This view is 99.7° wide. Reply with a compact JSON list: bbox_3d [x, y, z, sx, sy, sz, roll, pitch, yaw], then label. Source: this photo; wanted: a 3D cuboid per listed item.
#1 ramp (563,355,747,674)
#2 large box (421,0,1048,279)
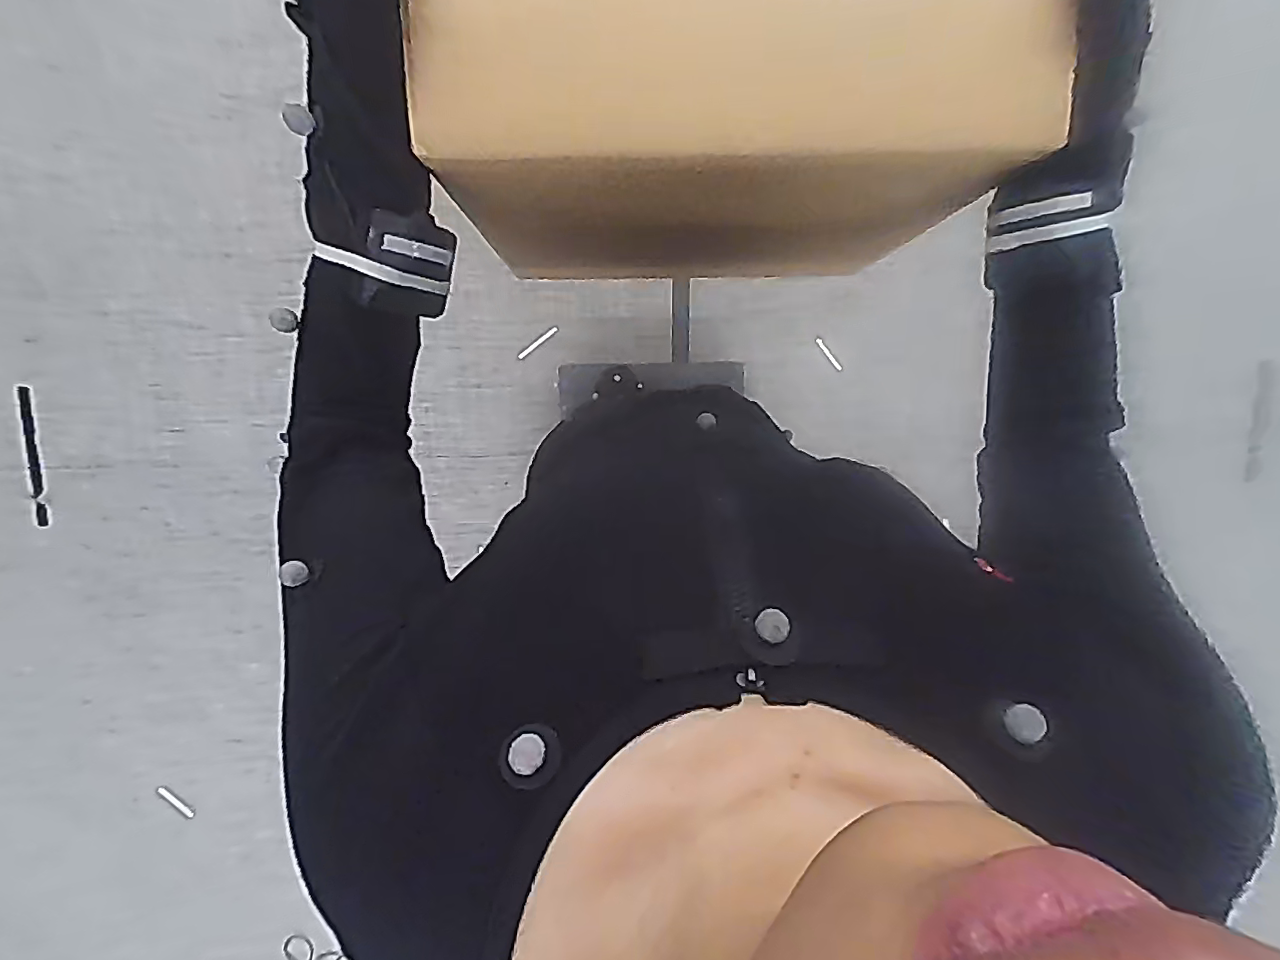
[{"bbox_3d":[0.051,0.145,1.586,0.509,0.206,0.991,-4,100,-3],"label":"ramp"},{"bbox_3d":[0.054,-0.381,0.481,0.408,0.320,0.320,-2,97,-1],"label":"large box"}]
